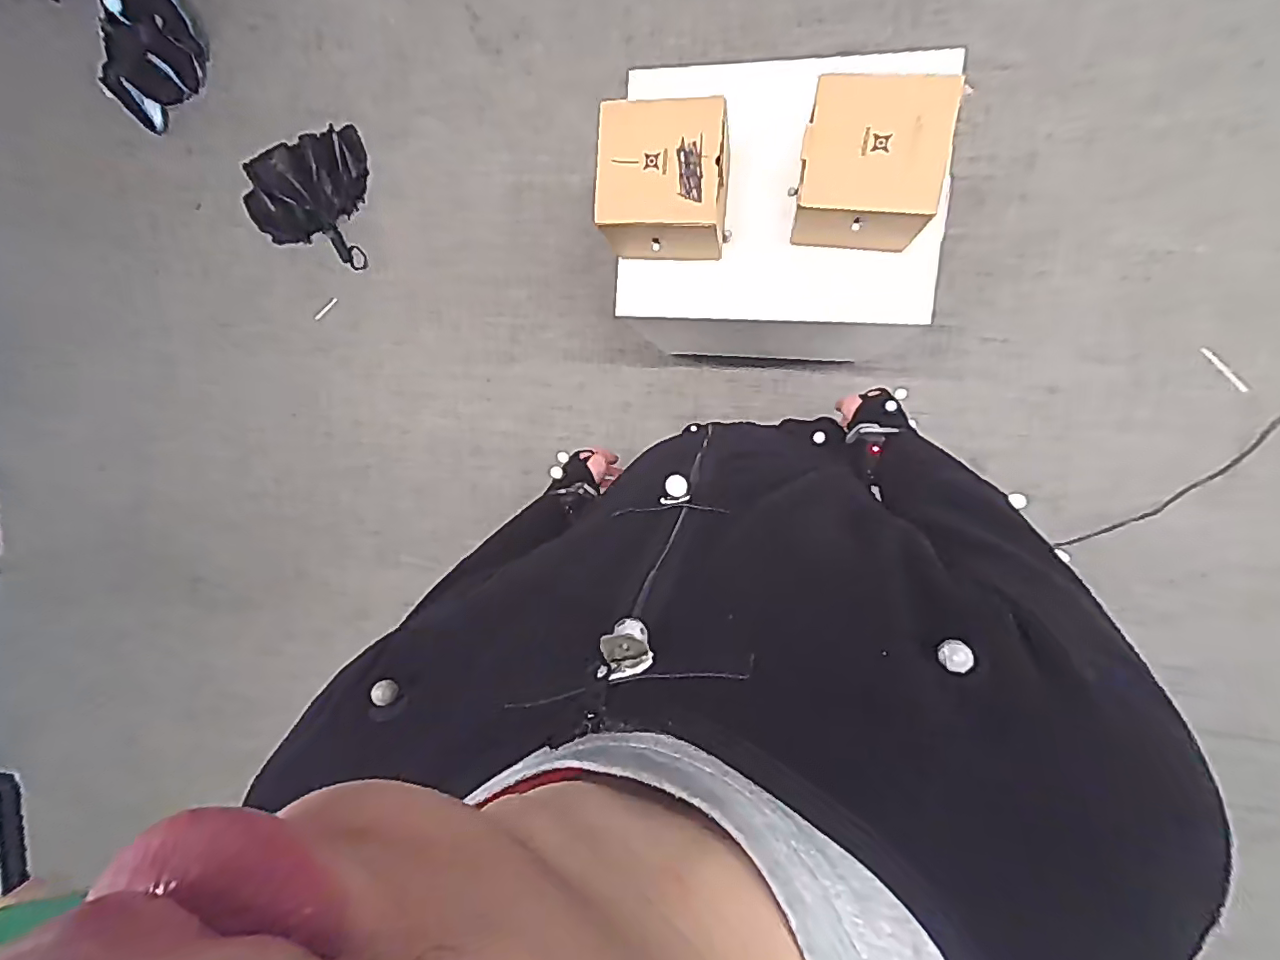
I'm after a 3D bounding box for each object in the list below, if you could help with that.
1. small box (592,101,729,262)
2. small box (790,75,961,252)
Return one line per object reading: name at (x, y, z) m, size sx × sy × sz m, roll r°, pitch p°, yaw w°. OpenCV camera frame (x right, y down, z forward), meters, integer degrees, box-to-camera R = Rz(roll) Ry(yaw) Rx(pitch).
small box at (0.040, -0.441, 0.822) m, size 0.179 × 0.176 × 0.168 m, roll 6°, pitch 96°, yaw 13°
small box at (0.316, -0.435, 0.767) m, size 0.179 × 0.176 × 0.168 m, roll 9°, pitch 99°, yaw 10°
